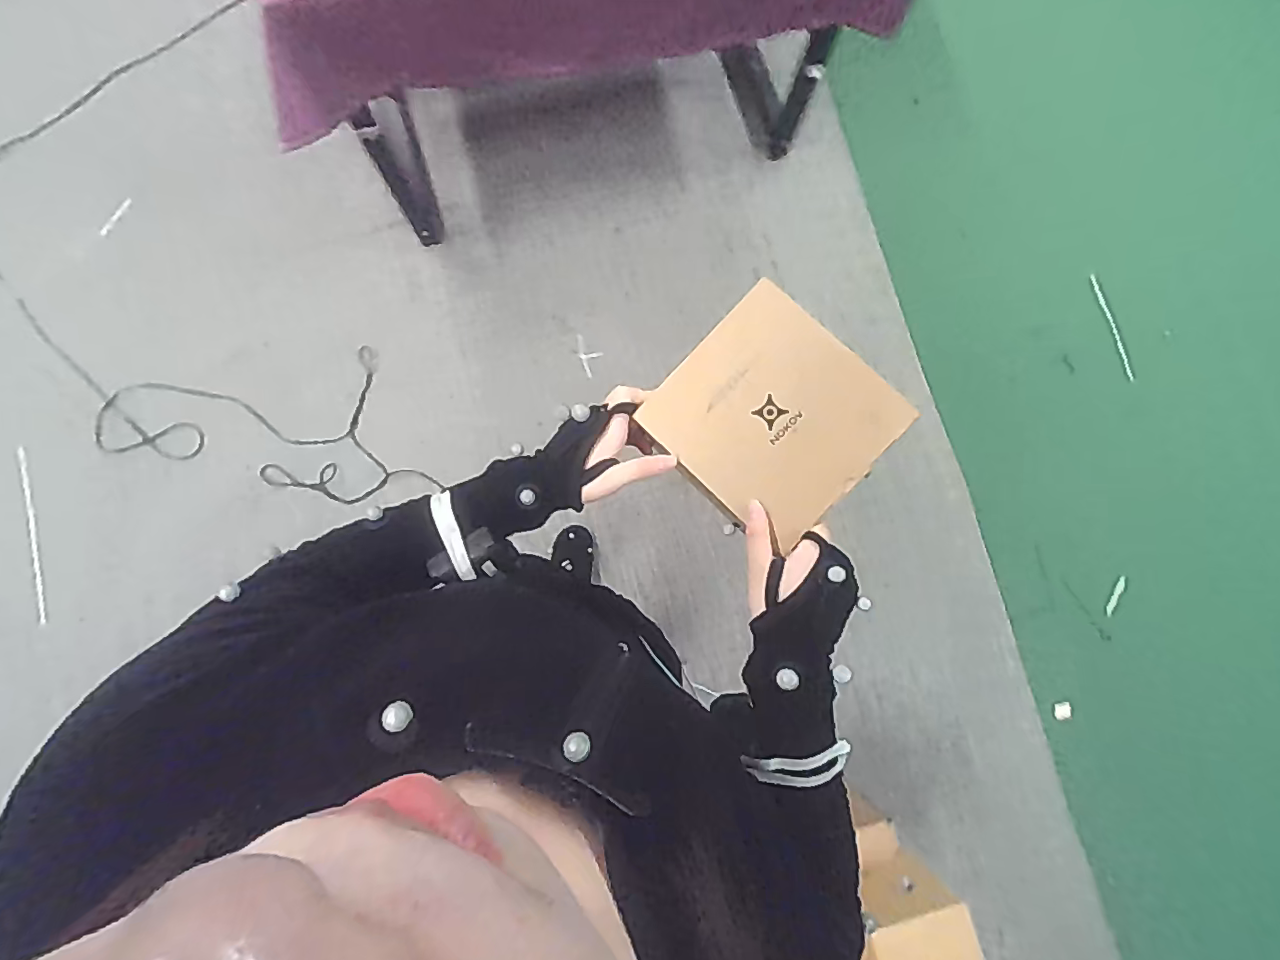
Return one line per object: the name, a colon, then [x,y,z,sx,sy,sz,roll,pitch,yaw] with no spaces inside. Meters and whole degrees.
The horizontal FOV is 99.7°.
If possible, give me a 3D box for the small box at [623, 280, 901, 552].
small box: [0.108,-0.052,0.534,0.179,0.176,0.168,45,91,6]
